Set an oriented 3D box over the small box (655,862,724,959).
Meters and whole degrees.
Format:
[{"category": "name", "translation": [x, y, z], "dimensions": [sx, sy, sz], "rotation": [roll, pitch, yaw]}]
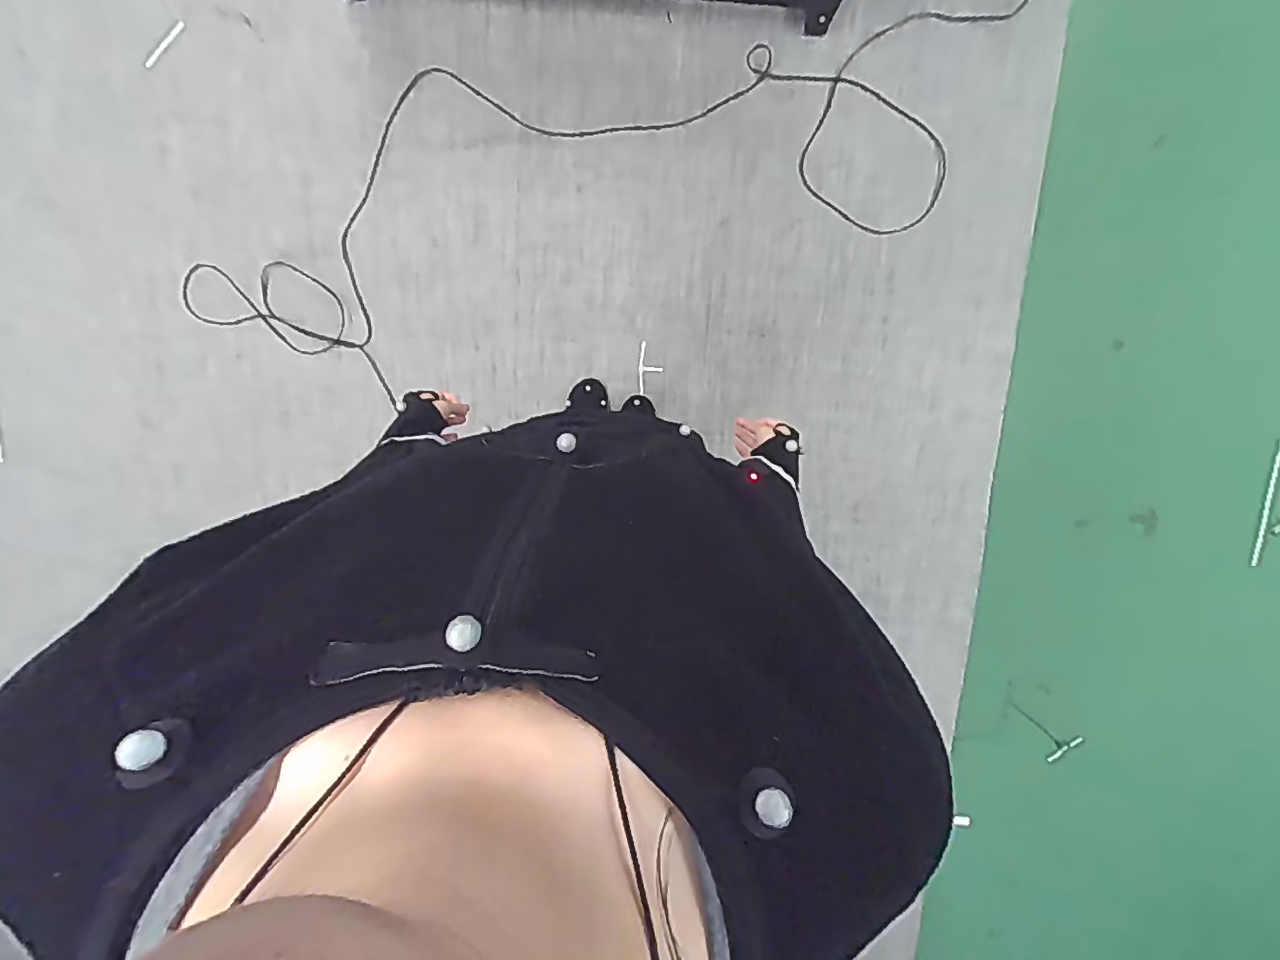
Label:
[{"category": "small box", "translation": [0.135, 1.242, 1.559], "dimensions": [0.179, 0.176, 0.168], "rotation": [1, 98, -4]}]
